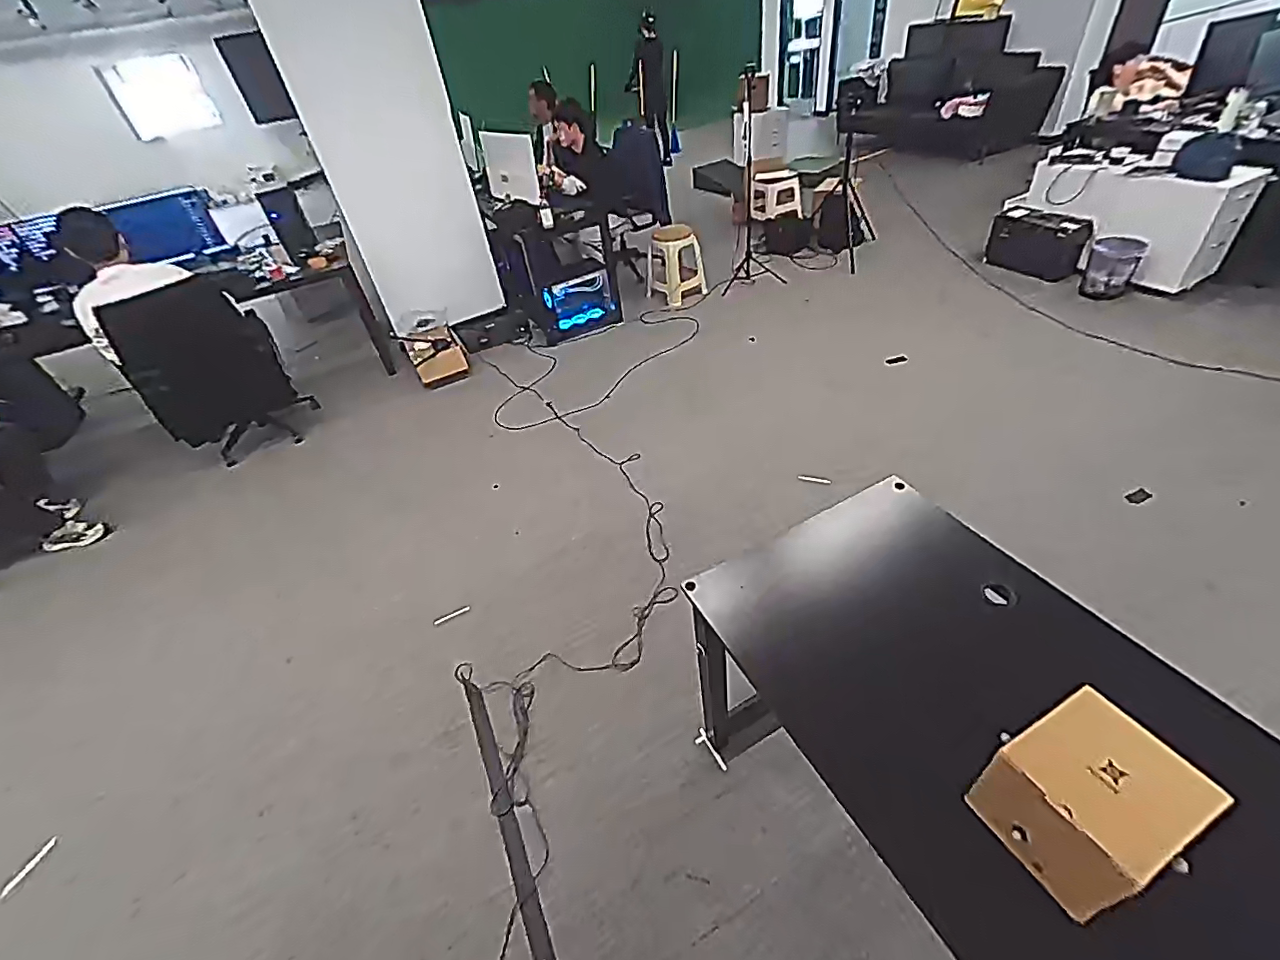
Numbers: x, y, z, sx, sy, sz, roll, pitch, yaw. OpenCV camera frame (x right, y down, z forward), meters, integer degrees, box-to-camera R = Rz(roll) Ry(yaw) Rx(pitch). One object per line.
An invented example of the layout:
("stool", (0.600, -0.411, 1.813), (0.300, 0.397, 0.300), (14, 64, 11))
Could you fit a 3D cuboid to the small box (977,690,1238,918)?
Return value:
("small box", (0.579, 0.415, 0.699), (0.179, 0.176, 0.168), (-24, 43, -16))
